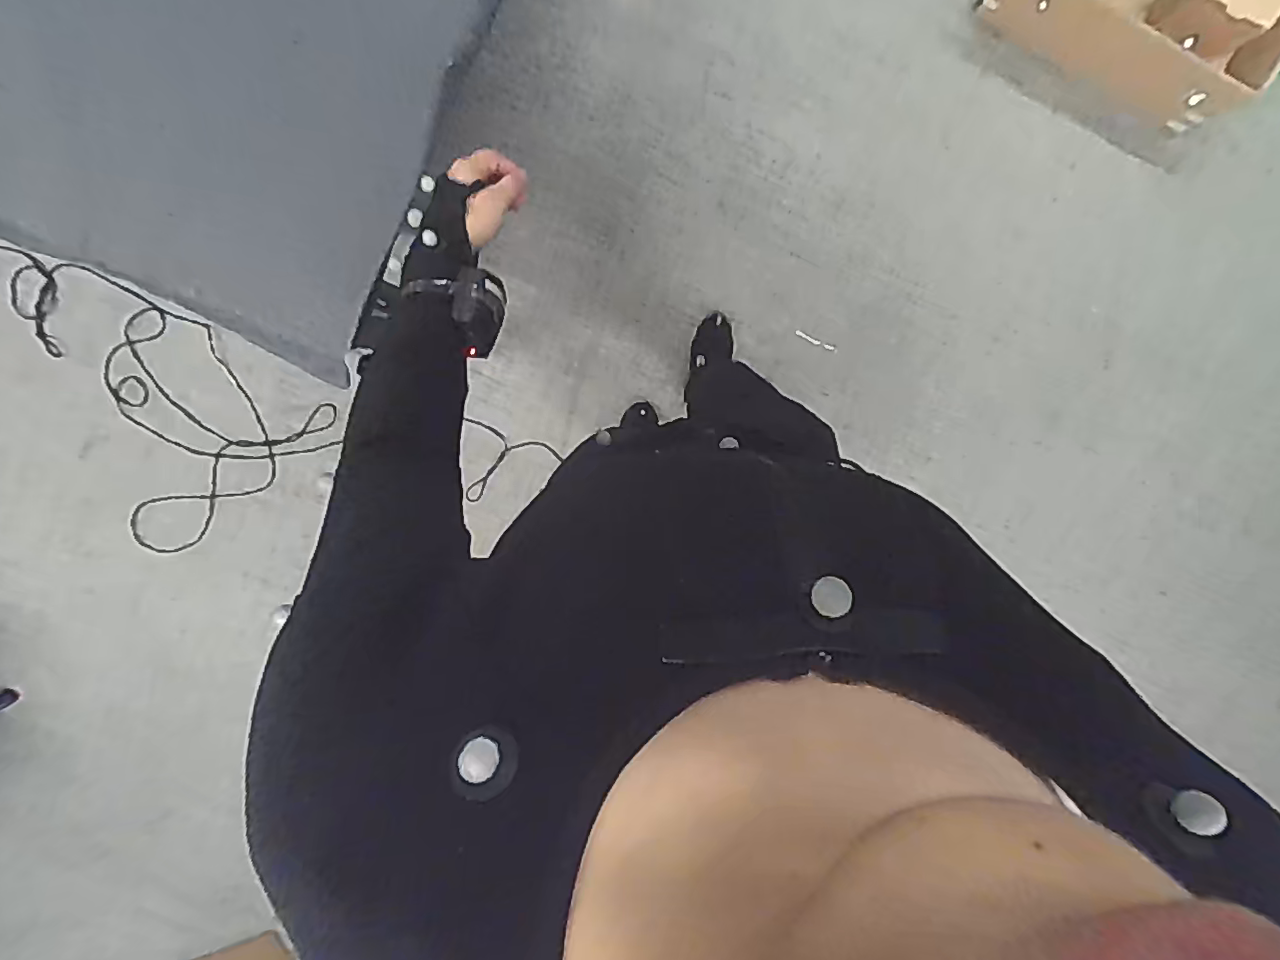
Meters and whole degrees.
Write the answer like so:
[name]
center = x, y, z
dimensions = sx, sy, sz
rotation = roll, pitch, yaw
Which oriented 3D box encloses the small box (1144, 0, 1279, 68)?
[small box]
center = 1.245, -1.037, 1.150
dimensions = 0.168, 0.176, 0.179
rotation = 27, 101, -5
